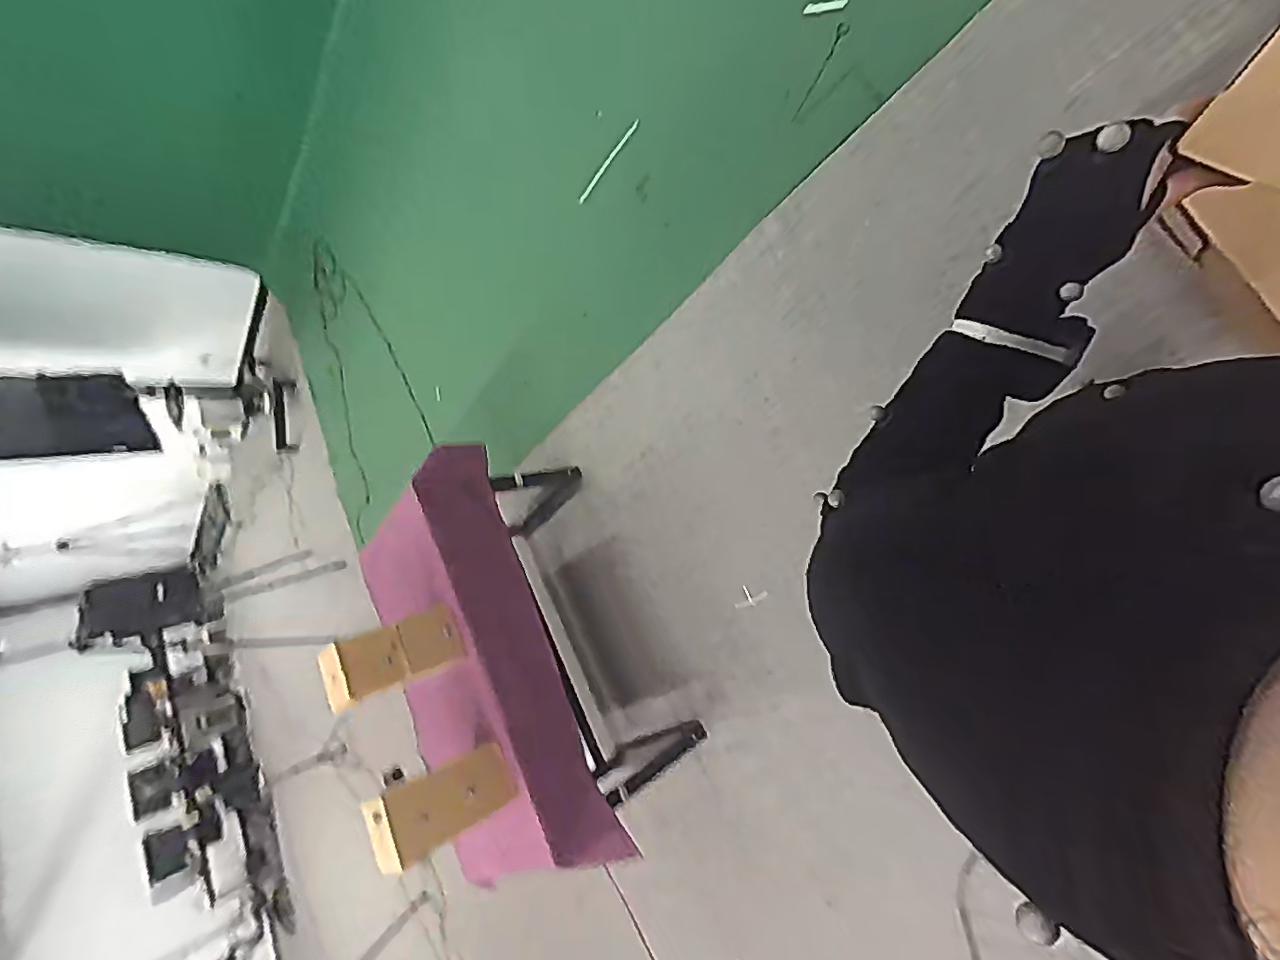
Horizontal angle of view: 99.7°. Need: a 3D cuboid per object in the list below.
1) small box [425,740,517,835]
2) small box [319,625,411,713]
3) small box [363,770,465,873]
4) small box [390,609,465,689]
[{"bbox_3d":[-0.475,0.867,1.526,0.168,0.176,0.179,-35,72,39],"label":"small box"},{"bbox_3d":[-0.774,0.530,1.526,0.179,0.176,0.168,-36,73,38],"label":"small box"},{"bbox_3d":[-0.587,0.880,1.408,0.168,0.176,0.179,-36,73,38],"label":"small box"},{"bbox_3d":[-0.660,0.506,1.641,0.168,0.176,0.179,-37,71,39],"label":"small box"}]
